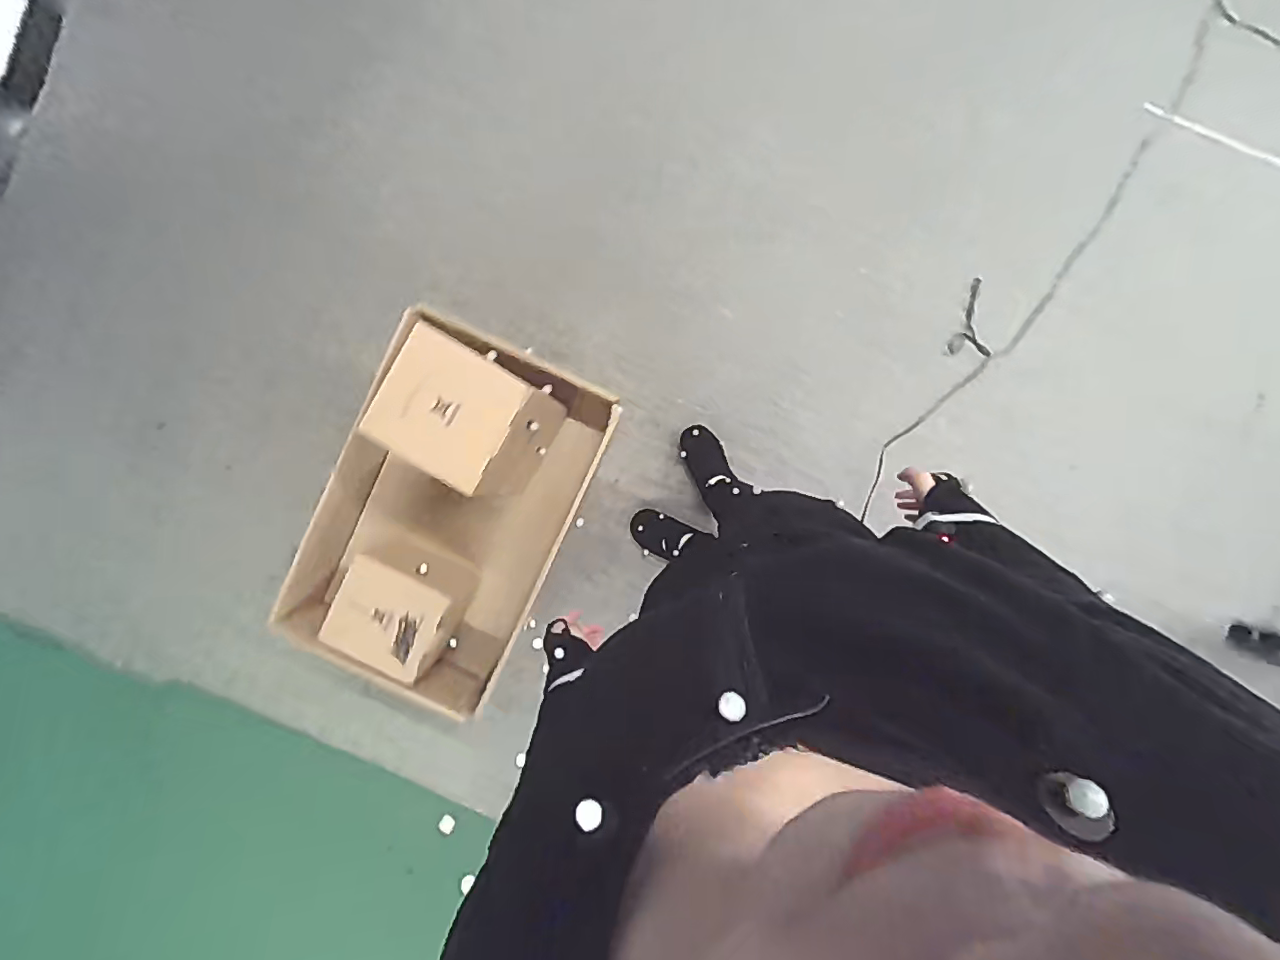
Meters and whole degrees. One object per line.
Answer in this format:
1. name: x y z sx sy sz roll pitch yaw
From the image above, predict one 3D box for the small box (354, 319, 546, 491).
1. small box: -0.257 -0.101 0.782 0.179 0.176 0.168 31 92 1
